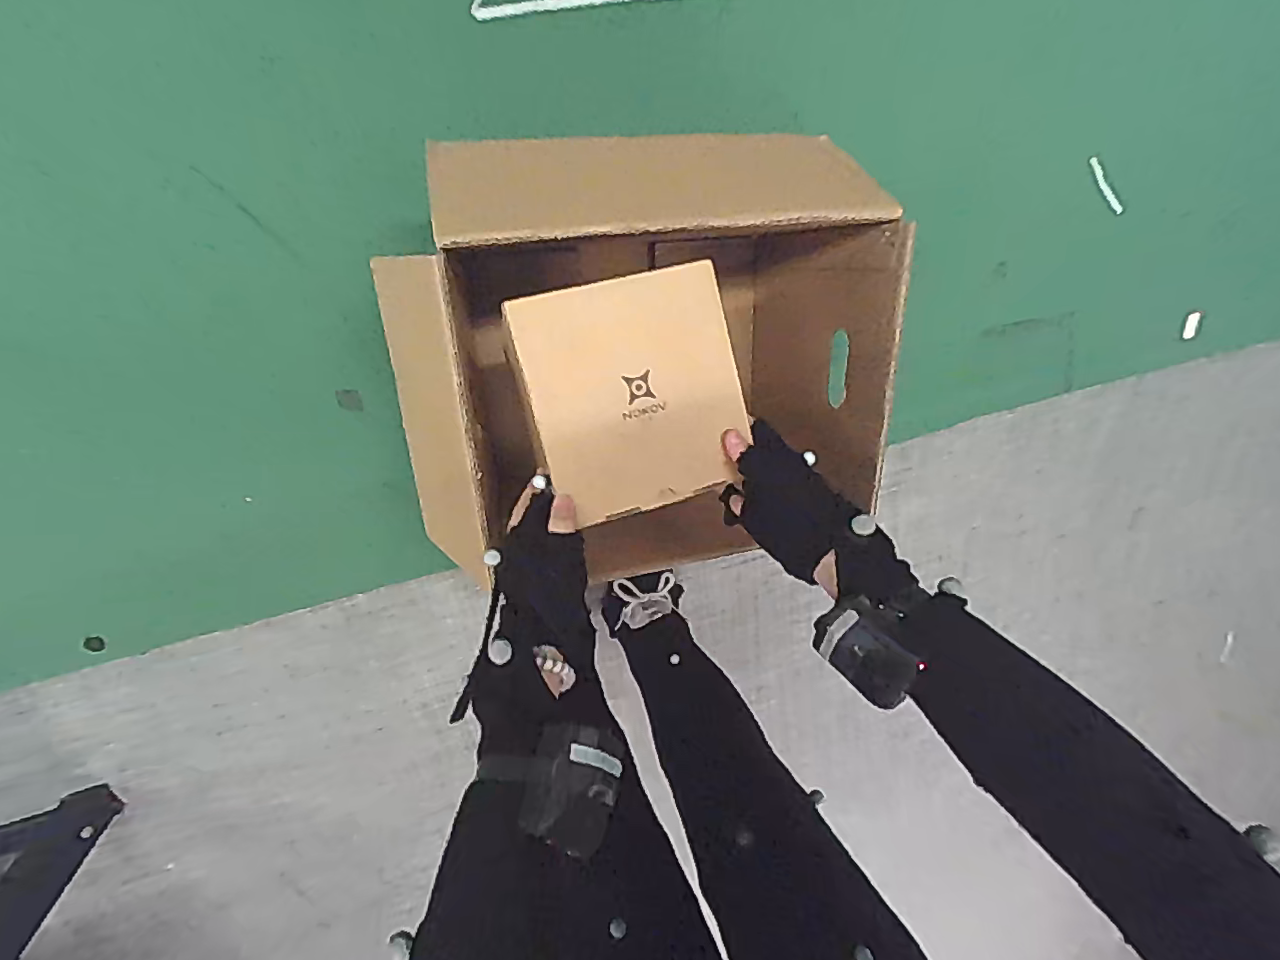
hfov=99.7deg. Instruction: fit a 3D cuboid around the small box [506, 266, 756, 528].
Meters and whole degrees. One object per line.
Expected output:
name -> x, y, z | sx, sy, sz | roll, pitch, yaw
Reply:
small box -> -0.021, -0.070, 0.494 | 0.168, 0.176, 0.179 | -16, 98, -13
